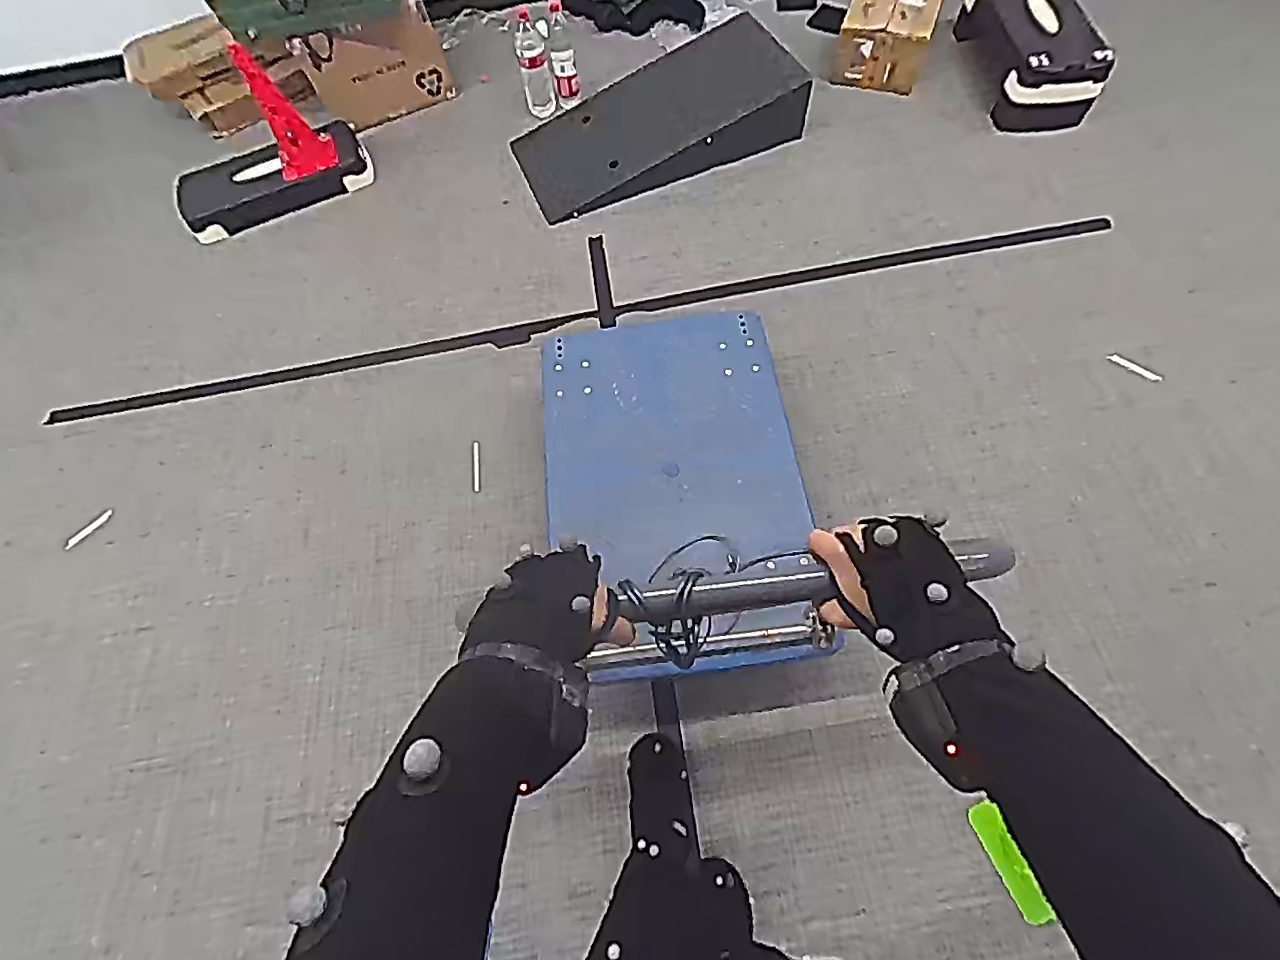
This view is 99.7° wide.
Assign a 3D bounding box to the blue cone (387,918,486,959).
[{"bbox_3d":[-0.400,0.870,0.856,0.193,0.380,0.192,4,66,6],"label":"blue cone"}]

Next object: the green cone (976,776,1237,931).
[{"bbox_3d":[0.756,0.624,0.860,0.200,0.368,0.202,-22,66,-6],"label":"green cone"}]
